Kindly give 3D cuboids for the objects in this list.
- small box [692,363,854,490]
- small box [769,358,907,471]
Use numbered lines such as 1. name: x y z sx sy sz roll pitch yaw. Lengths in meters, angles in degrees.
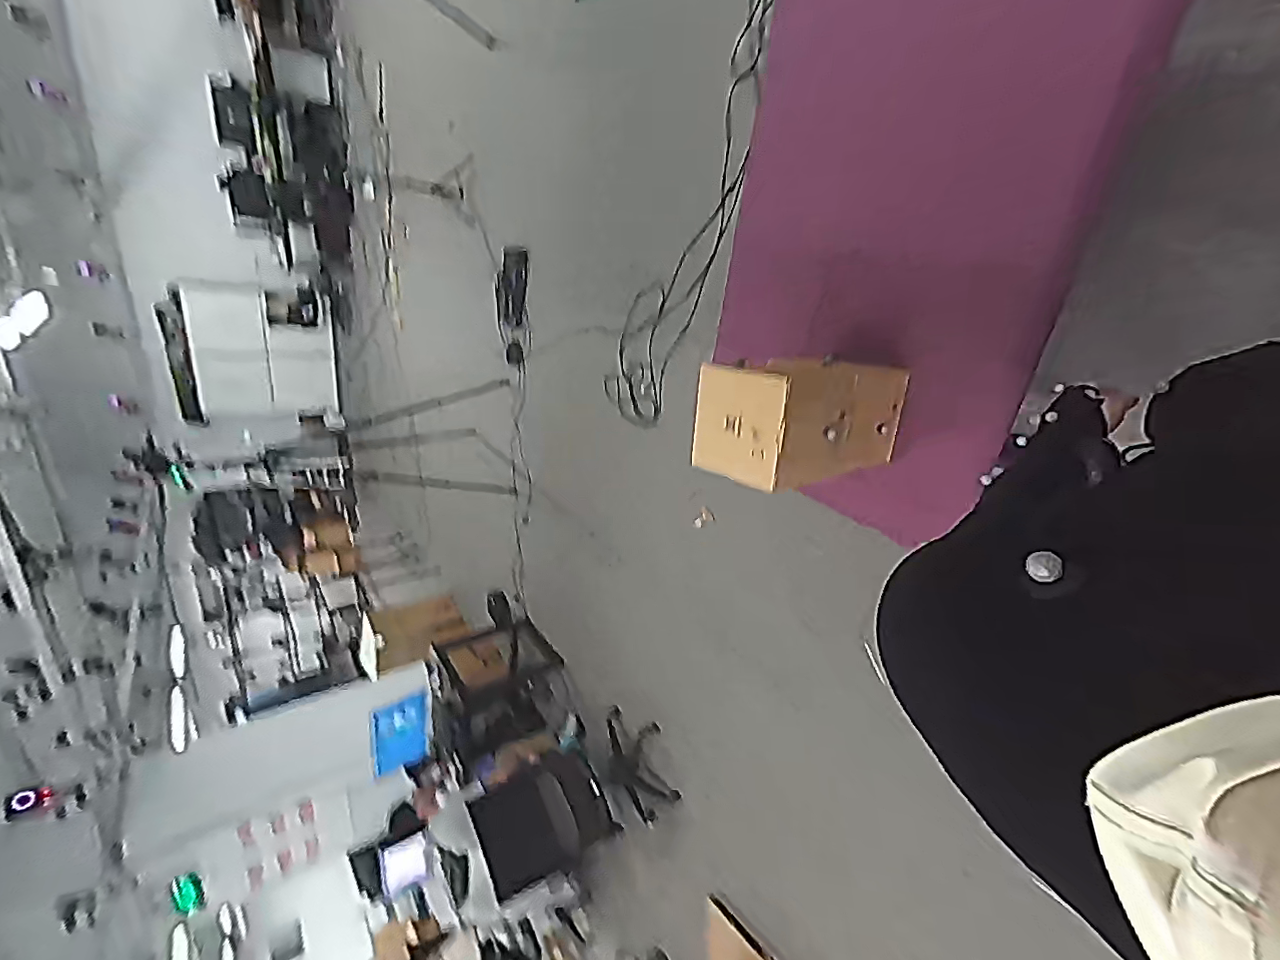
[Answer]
1. small box: 0.208 -0.095 0.867 0.179 0.176 0.168 23 116 48
2. small box: 0.338 -0.124 0.963 0.179 0.176 0.168 24 117 47
